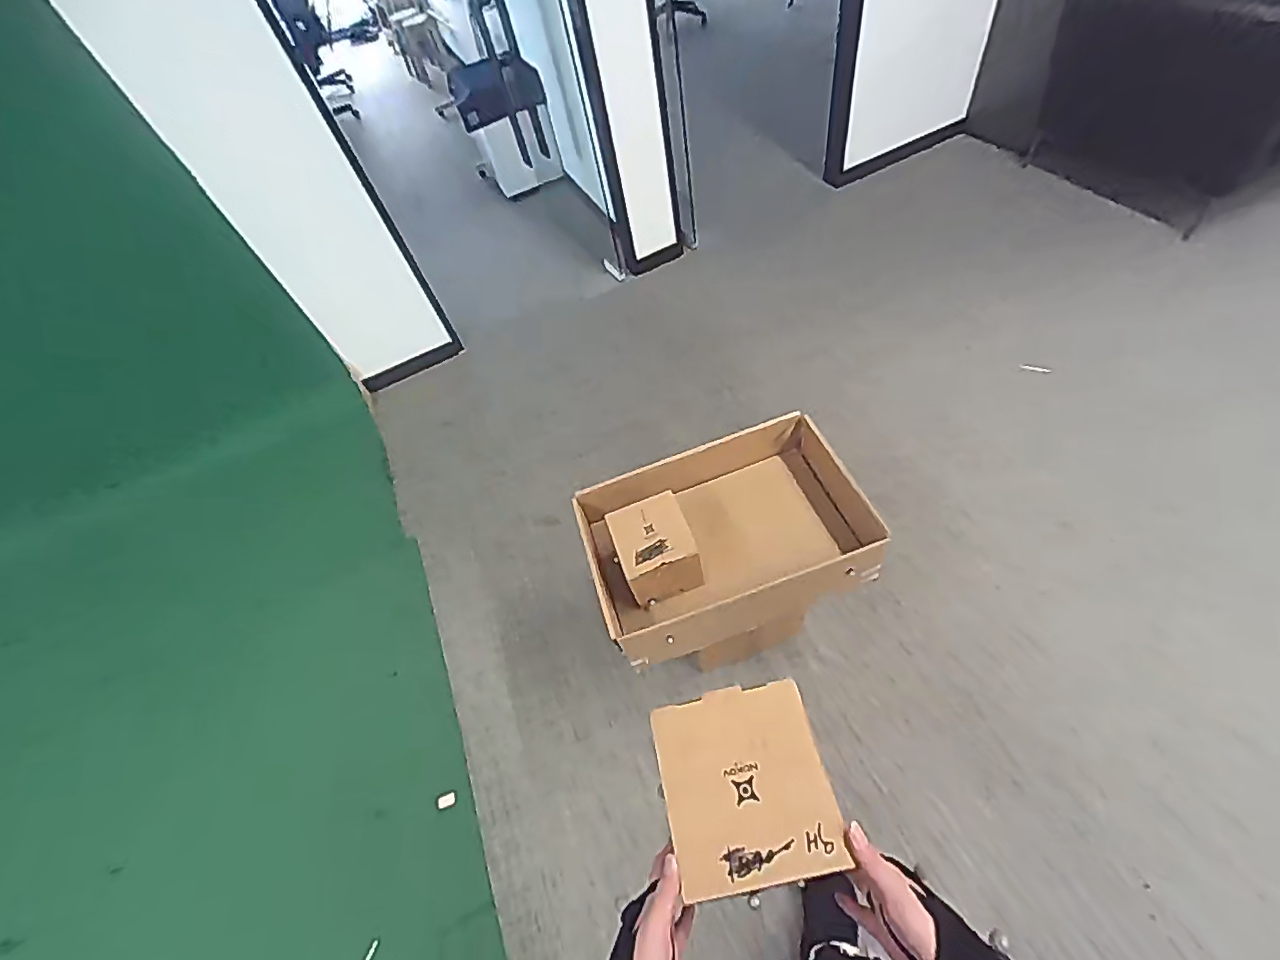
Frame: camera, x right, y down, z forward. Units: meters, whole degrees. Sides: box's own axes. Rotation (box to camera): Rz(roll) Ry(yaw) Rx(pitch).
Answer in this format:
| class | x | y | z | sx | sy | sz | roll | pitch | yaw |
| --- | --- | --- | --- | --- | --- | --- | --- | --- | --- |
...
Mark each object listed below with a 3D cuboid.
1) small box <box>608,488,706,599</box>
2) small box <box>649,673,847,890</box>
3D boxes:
| class | x | y | z | sx | sy | sz | roll | pitch | yaw |
| --- | --- | --- | --- | --- | --- | --- | --- | --- | --- |
| small box | 0.044 | 0.155 | 1.249 | 0.168 | 0.176 | 0.179 | -21 | 53 | -1 |
| small box | 0.116 | 0.348 | 0.618 | 0.168 | 0.176 | 0.179 | -15 | 52 | 3 |
